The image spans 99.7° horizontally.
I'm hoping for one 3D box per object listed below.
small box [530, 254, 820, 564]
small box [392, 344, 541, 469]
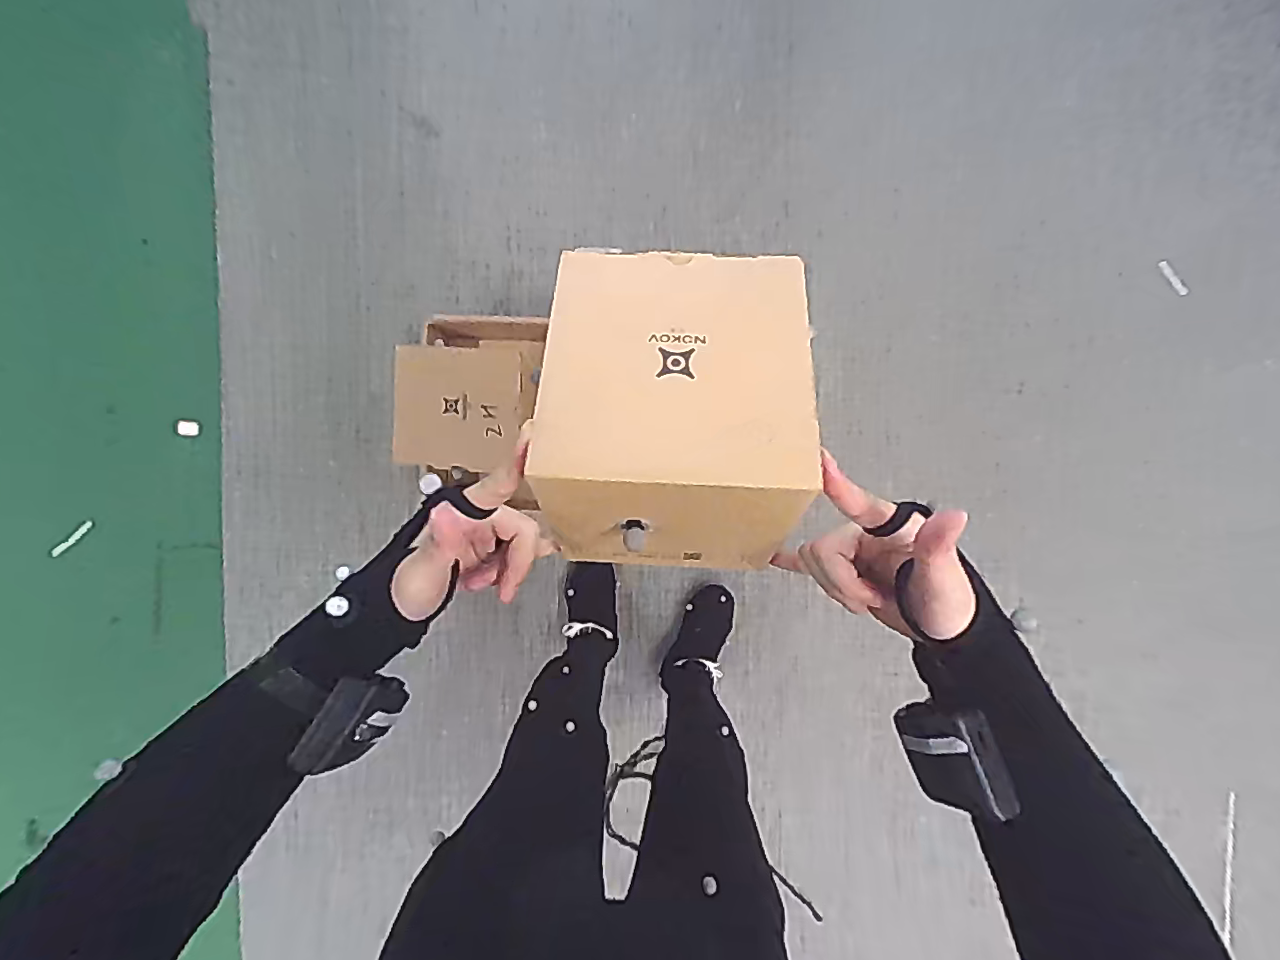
[{"bbox_3d":[0.026,-0.042,0.407,0.168,0.176,0.179,1,64,2],"label":"small box"},{"bbox_3d":[-0.253,-0.103,0.822,0.179,0.176,0.168,2,92,-3],"label":"small box"}]
